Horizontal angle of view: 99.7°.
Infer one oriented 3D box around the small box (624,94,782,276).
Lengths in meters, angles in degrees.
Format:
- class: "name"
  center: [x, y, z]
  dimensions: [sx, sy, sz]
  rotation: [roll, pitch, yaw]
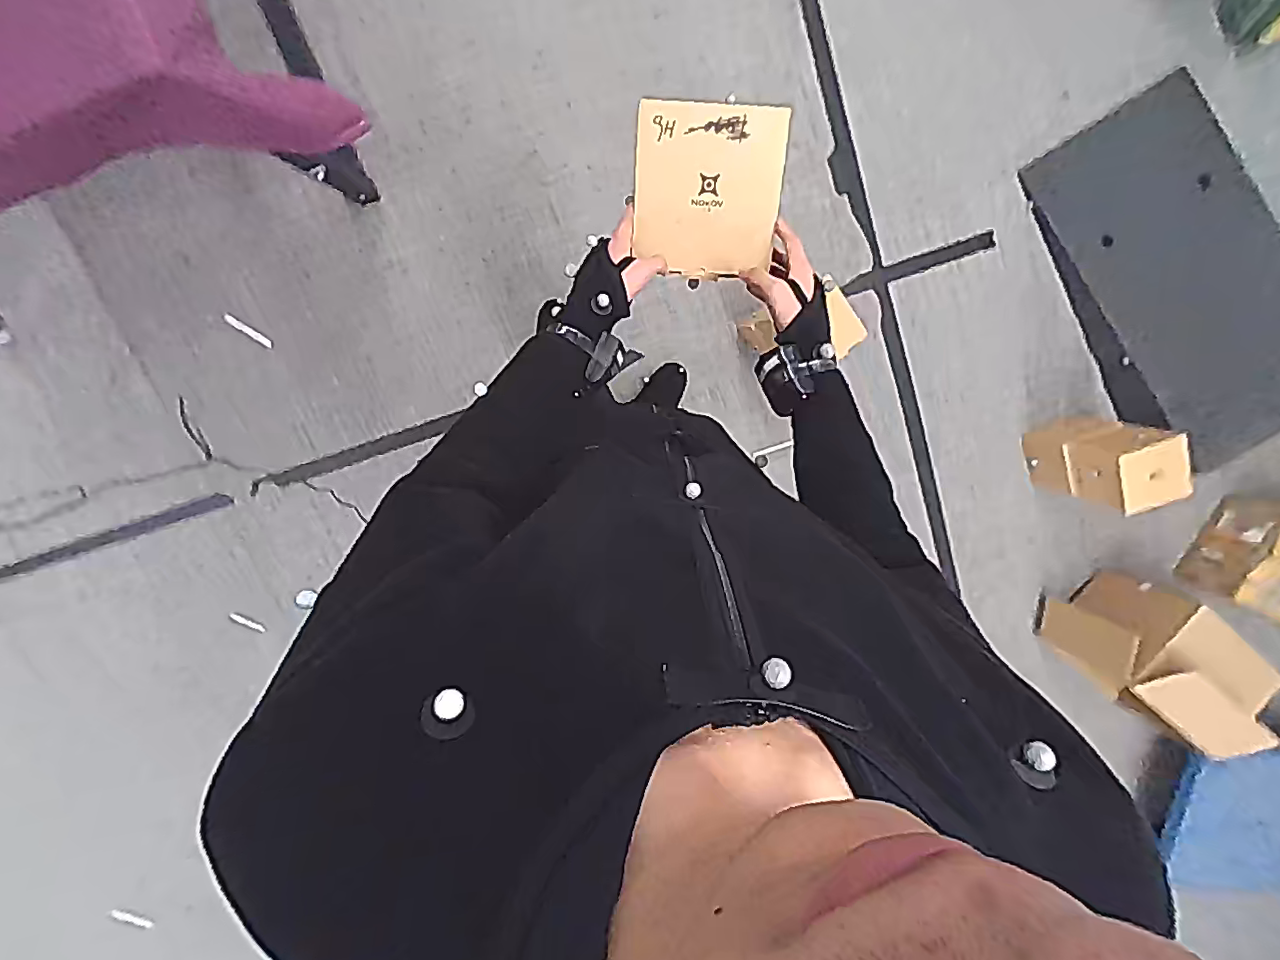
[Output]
- class: "small box"
  center: [0.070, -0.360, 0.685]
  dimensions: [0.168, 0.176, 0.179]
  rotation: [3, 112, 0]
